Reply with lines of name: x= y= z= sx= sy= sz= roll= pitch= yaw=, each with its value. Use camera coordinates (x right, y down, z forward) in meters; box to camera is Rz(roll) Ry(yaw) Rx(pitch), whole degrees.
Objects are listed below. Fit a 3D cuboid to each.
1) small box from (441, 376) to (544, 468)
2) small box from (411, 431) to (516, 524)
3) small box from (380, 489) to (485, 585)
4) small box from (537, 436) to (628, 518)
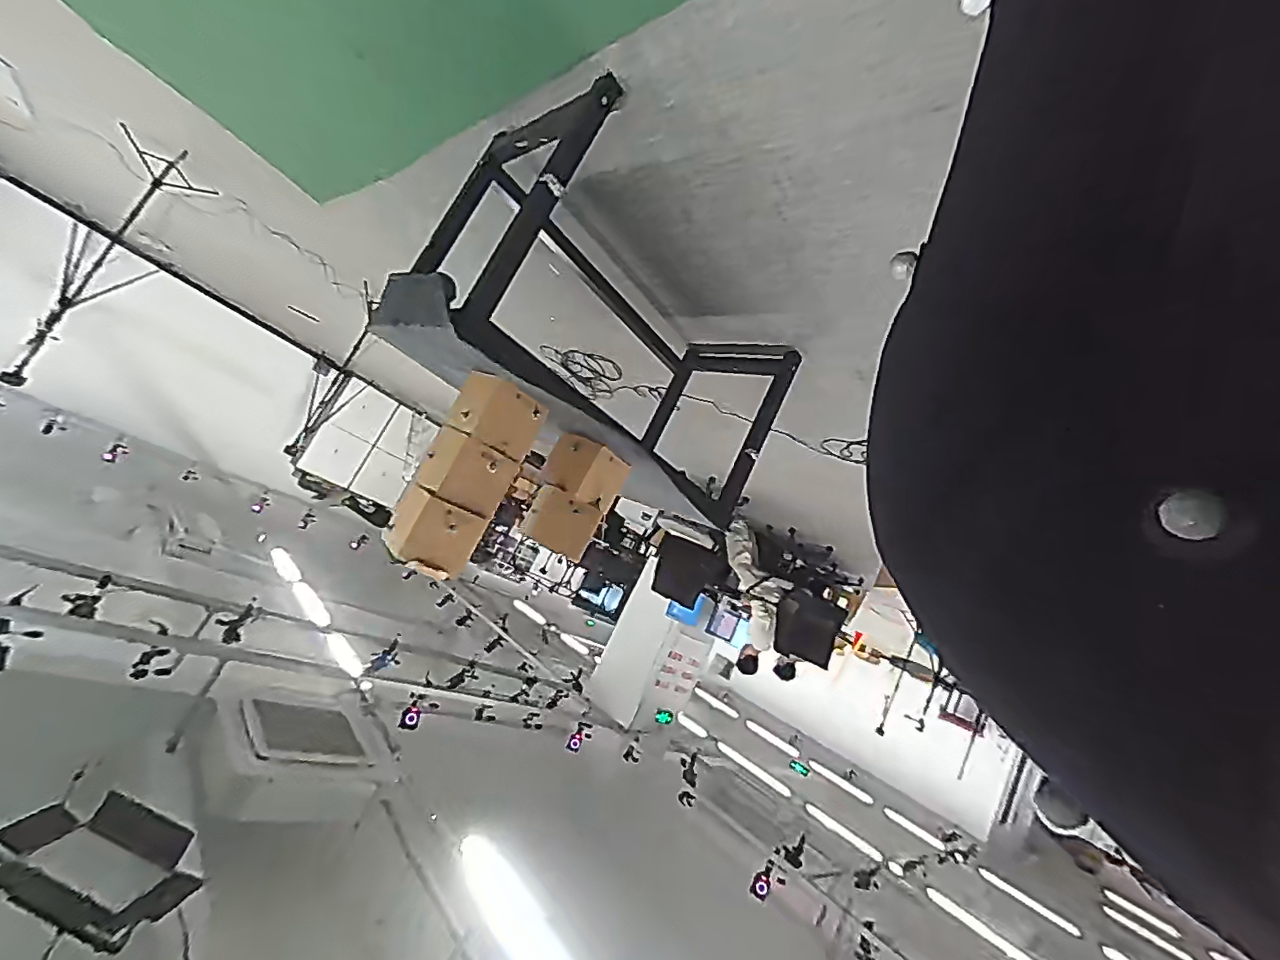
small box: x=-0.376 y=-0.155 z=1.406 sx=0.179 sy=0.176 sz=0.168 roll=20 pitch=170 yaw=45
small box: x=-0.446 y=-0.011 z=1.380 sx=0.168 sy=0.176 sz=0.179 roll=32 pitch=170 yaw=-40
small box: x=-0.516 y=0.136 z=1.350 sx=0.168 sy=0.176 sz=0.179 roll=31 pitch=171 yaw=-37
small box: x=-0.168 y=-0.014 z=1.619 sx=0.179 sy=0.176 sz=0.168 roll=21 pitch=170 yaw=37
